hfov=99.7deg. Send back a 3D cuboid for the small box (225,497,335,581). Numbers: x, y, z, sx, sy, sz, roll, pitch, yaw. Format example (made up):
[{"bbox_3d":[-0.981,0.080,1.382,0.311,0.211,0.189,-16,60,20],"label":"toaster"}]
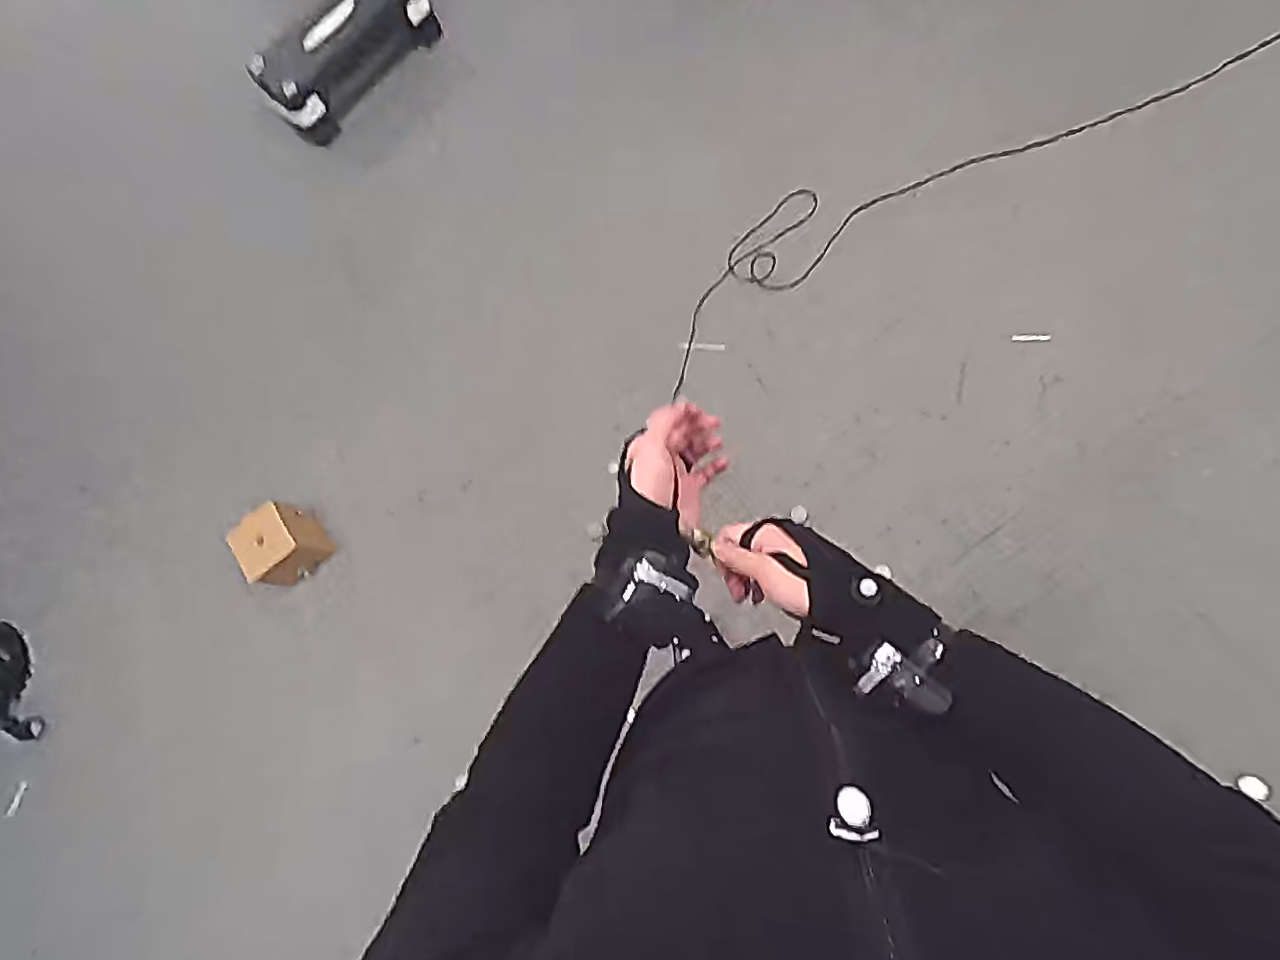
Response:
[{"bbox_3d":[-1.034,0.178,1.564,0.168,0.176,0.179,-39,75,-1],"label":"small box"}]
